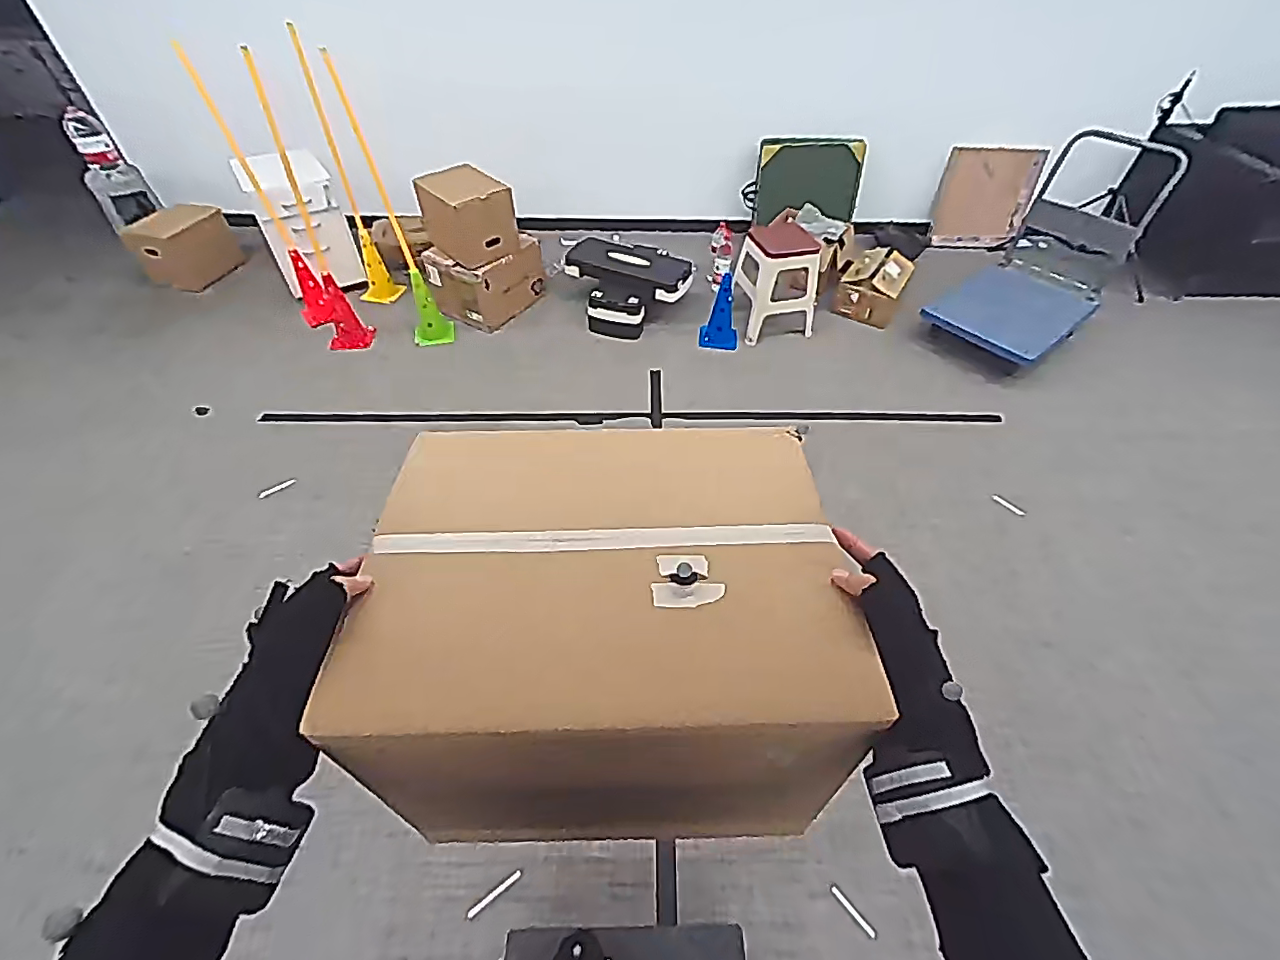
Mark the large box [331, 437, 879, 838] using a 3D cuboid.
[{"bbox_3d":[-0.029,0.170,0.594,0.408,0.320,0.320,-1,45,-1],"label":"large box"}]
